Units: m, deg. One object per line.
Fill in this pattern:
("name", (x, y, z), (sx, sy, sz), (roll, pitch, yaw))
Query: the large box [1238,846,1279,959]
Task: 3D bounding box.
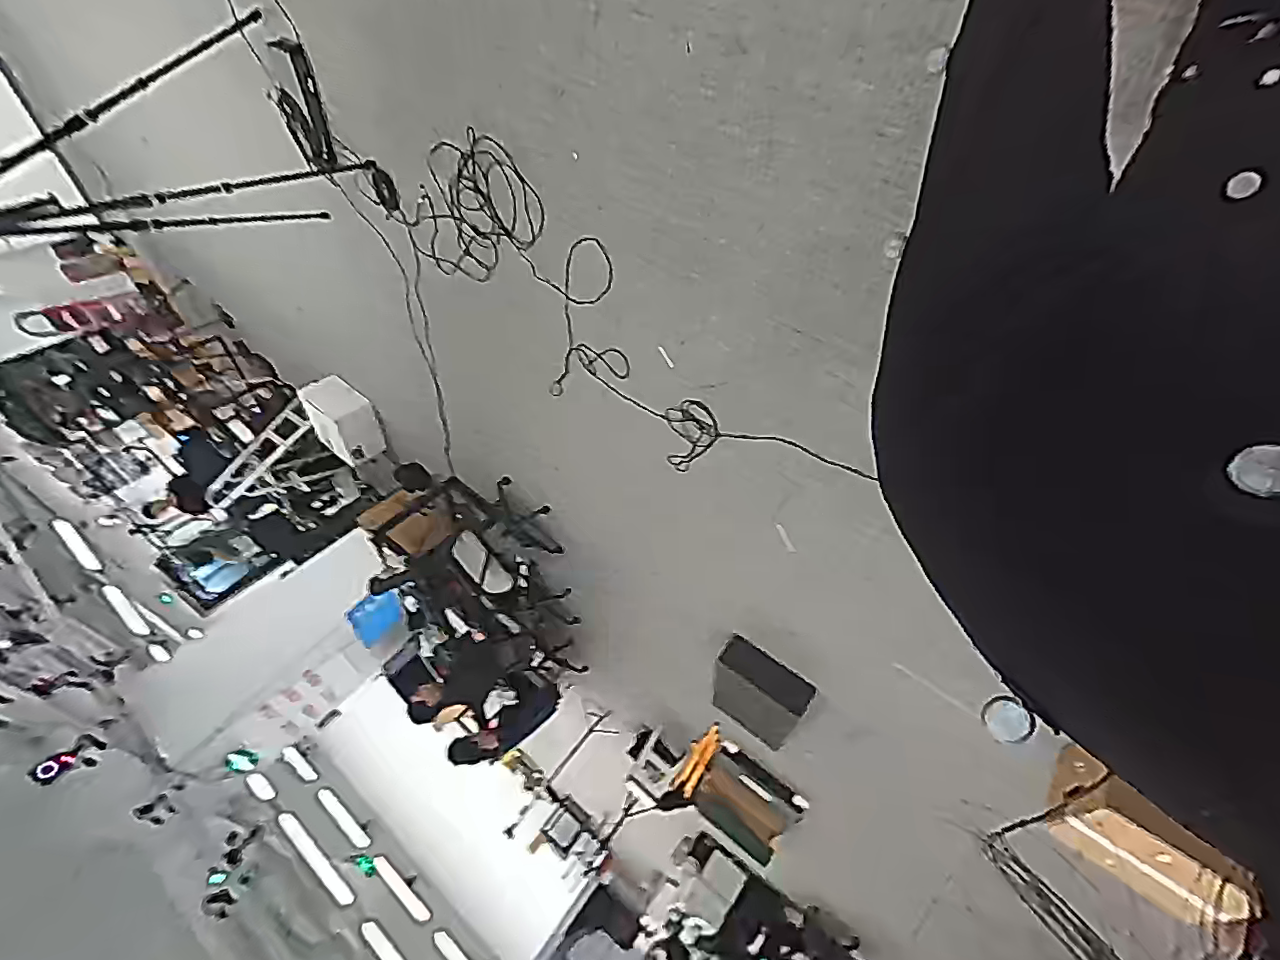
("large box", (2.004, 1.282, 1.478), (0.408, 0.320, 0.320), (33, 145, 19))
